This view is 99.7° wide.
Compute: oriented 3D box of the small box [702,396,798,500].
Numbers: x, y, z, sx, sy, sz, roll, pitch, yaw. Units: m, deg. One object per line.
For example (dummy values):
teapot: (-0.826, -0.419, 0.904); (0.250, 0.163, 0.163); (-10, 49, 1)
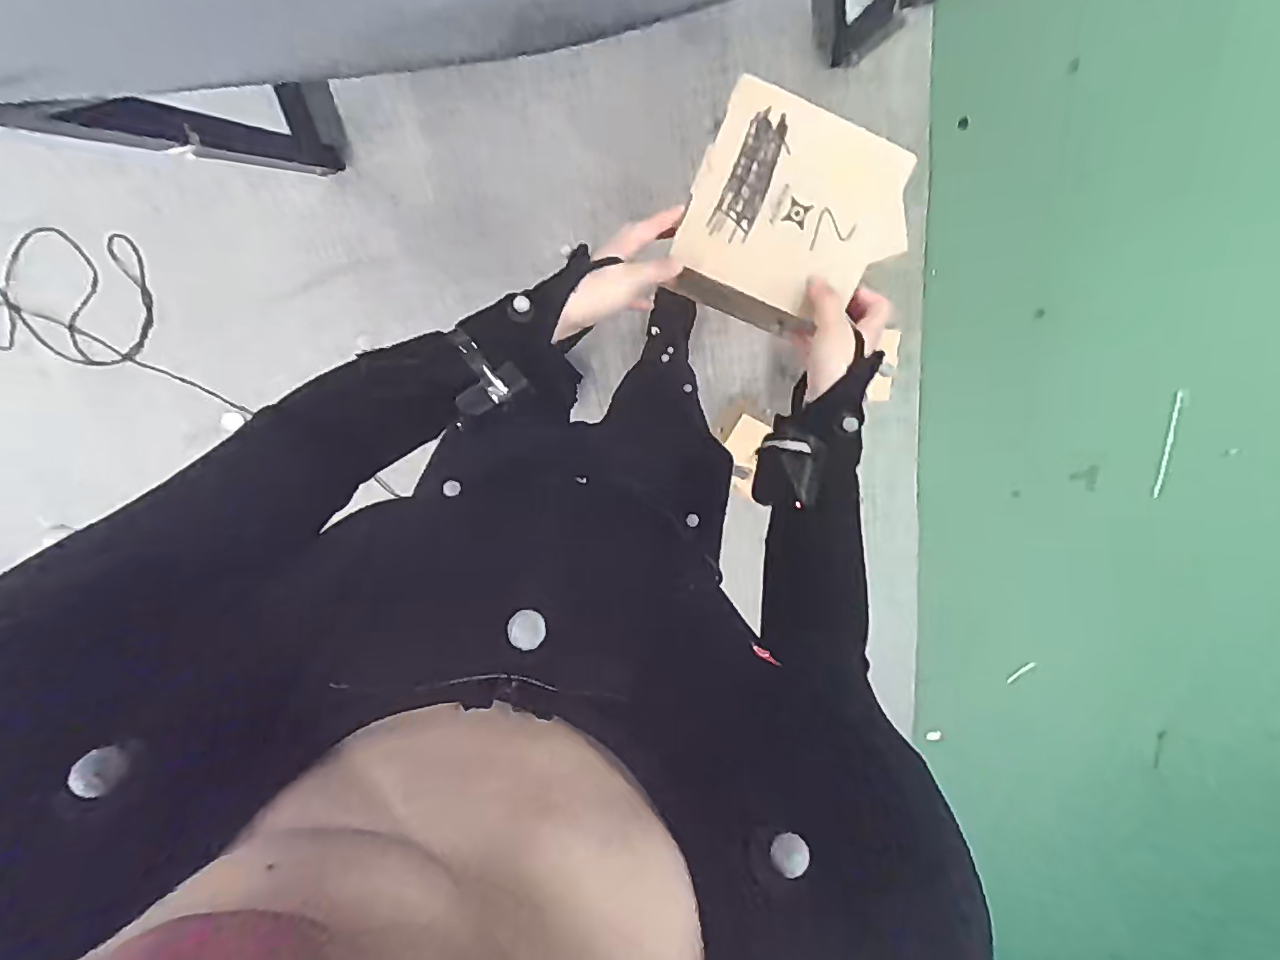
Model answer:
small box: (0.271, -0.086, 1.381); (0.168, 0.176, 0.179); (27, 112, -11)

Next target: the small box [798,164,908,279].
small box: (0.450, -0.550, 1.157); (0.168, 0.176, 0.179); (-16, 114, 8)

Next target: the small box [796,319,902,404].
small box: (0.486, -0.284, 1.282); (0.179, 0.176, 0.168); (0, 116, 1)
